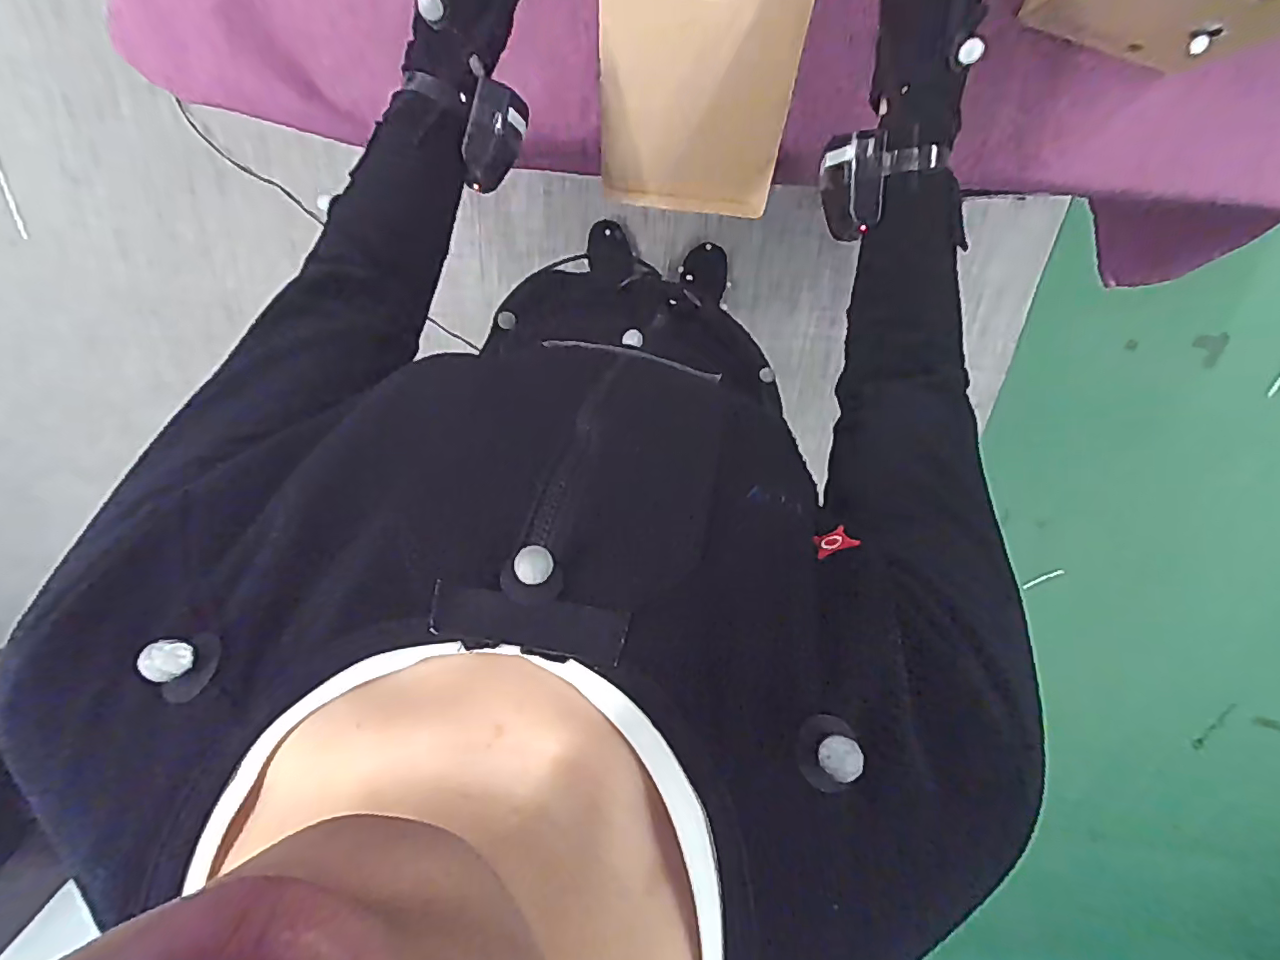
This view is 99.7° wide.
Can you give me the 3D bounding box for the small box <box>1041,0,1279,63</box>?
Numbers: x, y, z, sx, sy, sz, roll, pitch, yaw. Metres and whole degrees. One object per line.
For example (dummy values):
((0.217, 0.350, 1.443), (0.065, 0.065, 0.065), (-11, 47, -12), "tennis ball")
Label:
((0.450, -0.452, 0.404), (0.168, 0.176, 0.179), (16, 116, -4), "small box")
